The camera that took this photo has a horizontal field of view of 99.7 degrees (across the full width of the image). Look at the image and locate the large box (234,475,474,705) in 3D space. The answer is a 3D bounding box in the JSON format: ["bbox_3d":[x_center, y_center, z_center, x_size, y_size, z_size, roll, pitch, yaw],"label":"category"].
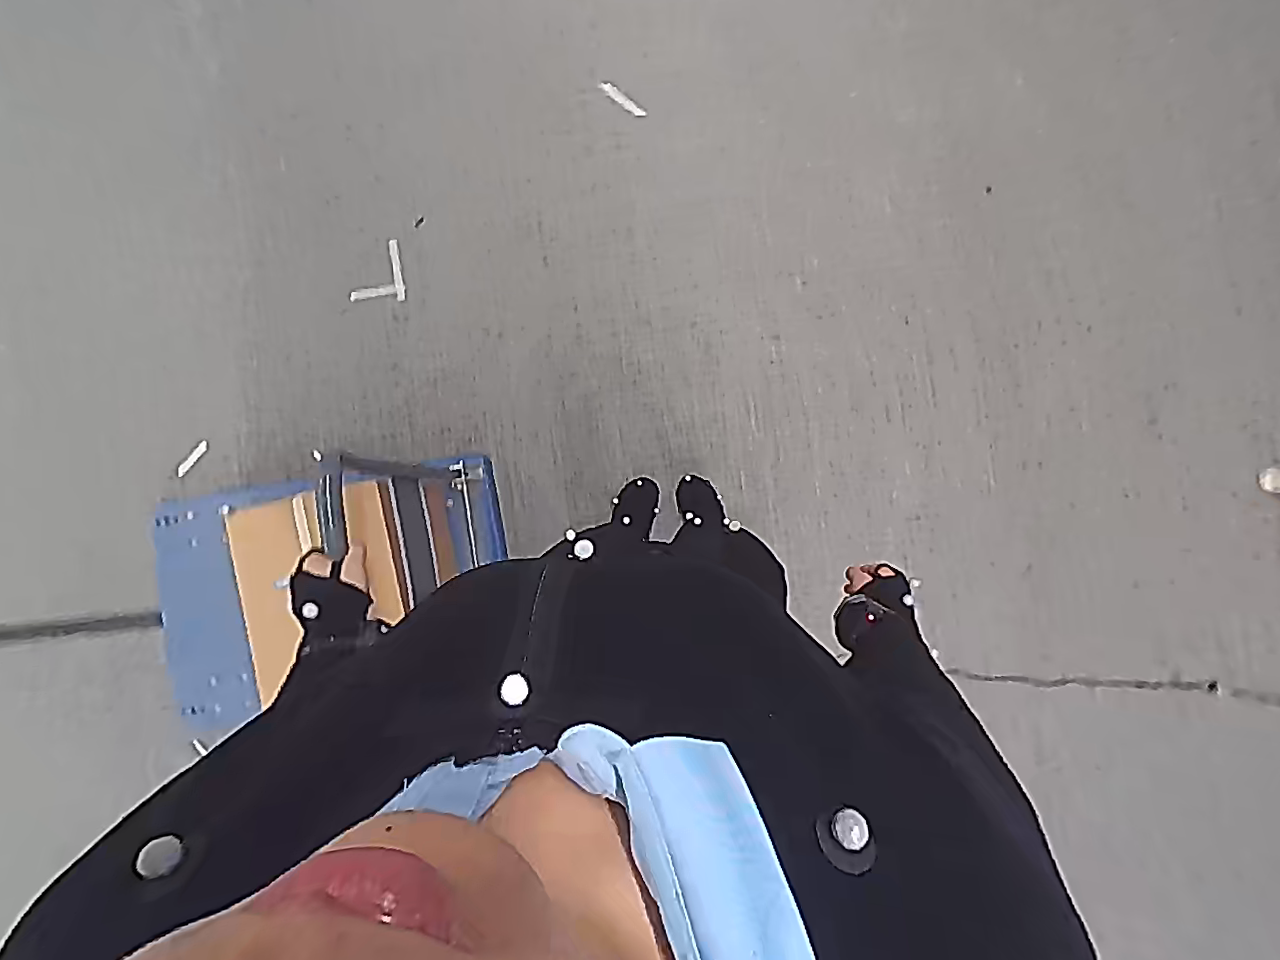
[{"bbox_3d":[-0.603,0.220,1.201,0.320,0.320,0.408,-12,88,1],"label":"large box"}]
